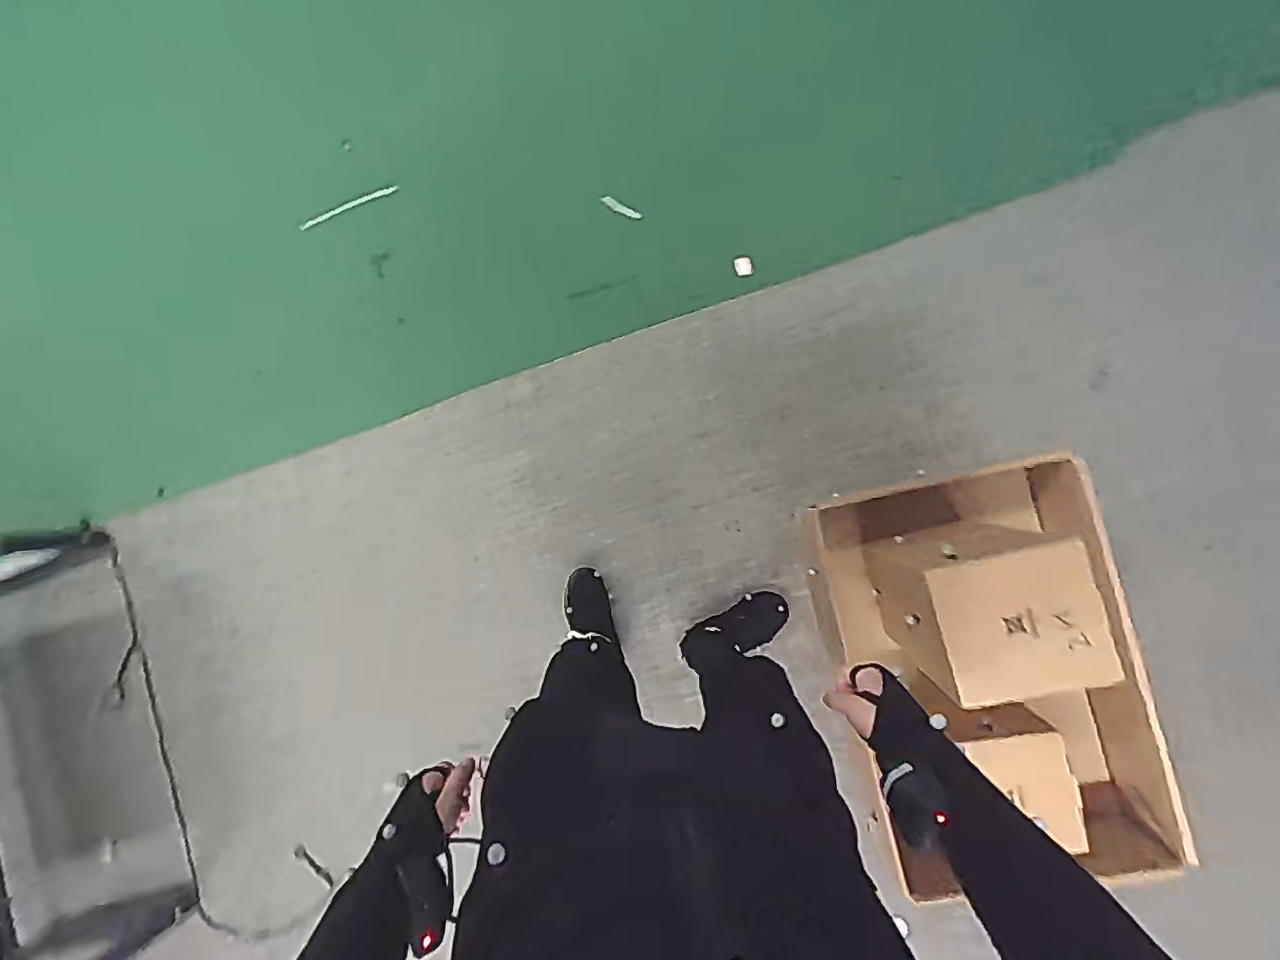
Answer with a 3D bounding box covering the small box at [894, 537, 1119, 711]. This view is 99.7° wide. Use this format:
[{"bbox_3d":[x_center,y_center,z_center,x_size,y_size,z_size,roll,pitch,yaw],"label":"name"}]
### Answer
[{"bbox_3d":[0.446,0.174,0.697,0.179,0.176,0.168,-14,87,10],"label":"small box"}]
